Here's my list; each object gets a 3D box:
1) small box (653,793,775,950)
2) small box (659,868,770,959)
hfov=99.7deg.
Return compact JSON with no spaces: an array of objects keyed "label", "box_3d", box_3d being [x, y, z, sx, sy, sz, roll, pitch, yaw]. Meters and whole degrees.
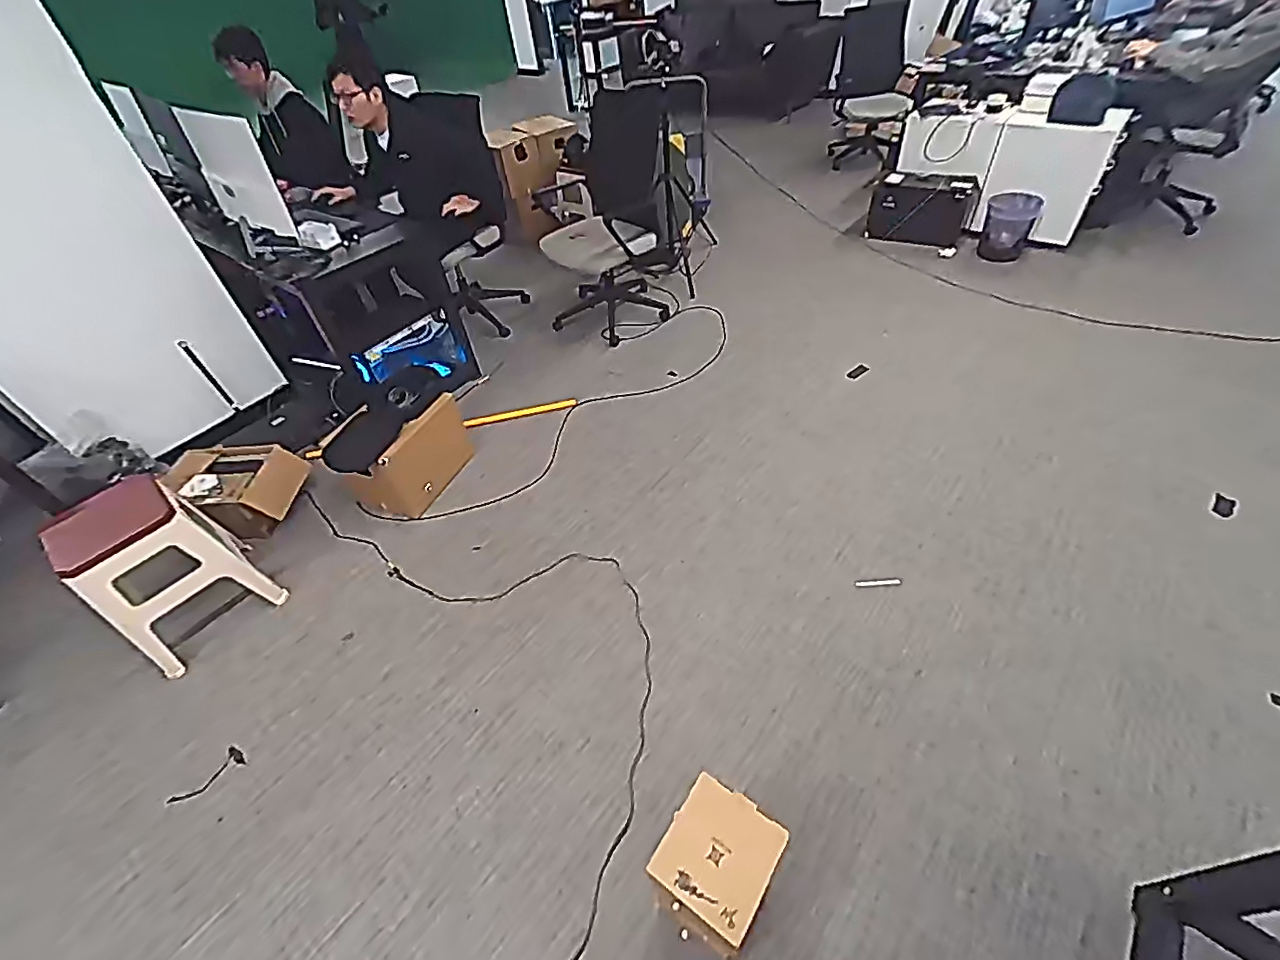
[{"label":"small box","box_3d":[0.143,0.749,1.033,0.168,0.176,0.179,22,51,25]},{"label":"small box","box_3d":[0.156,0.867,1.143,0.168,0.176,0.179,25,54,28]}]
